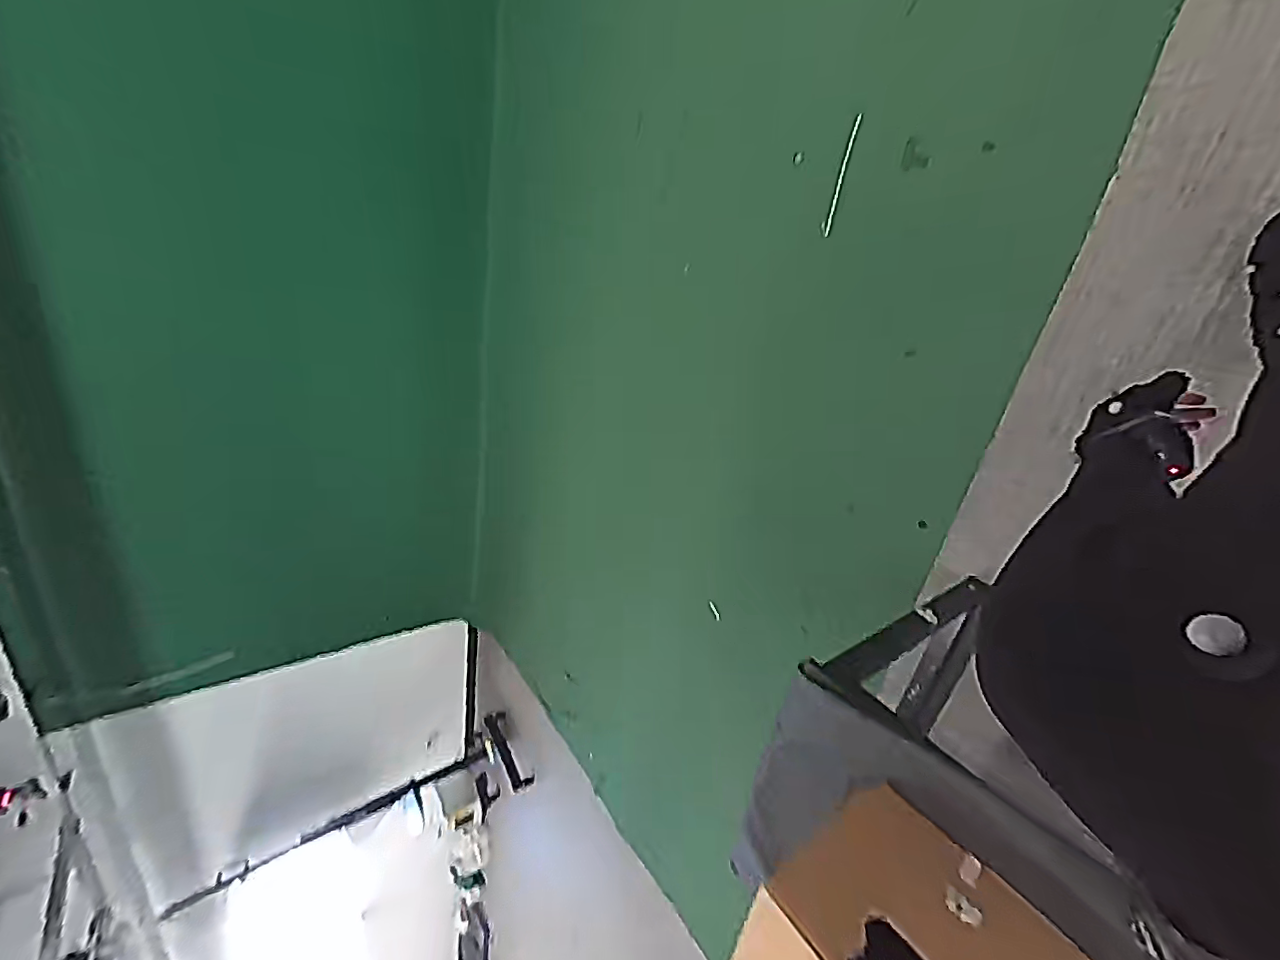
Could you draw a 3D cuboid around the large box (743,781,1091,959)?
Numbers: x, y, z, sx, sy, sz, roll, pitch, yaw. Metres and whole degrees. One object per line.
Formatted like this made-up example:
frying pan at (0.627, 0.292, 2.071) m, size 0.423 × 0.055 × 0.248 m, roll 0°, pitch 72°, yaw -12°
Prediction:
large box at (0.358, 0.755, 0.787) m, size 0.320 × 0.320 × 0.408 m, roll 33°, pitch 124°, yaw 43°
